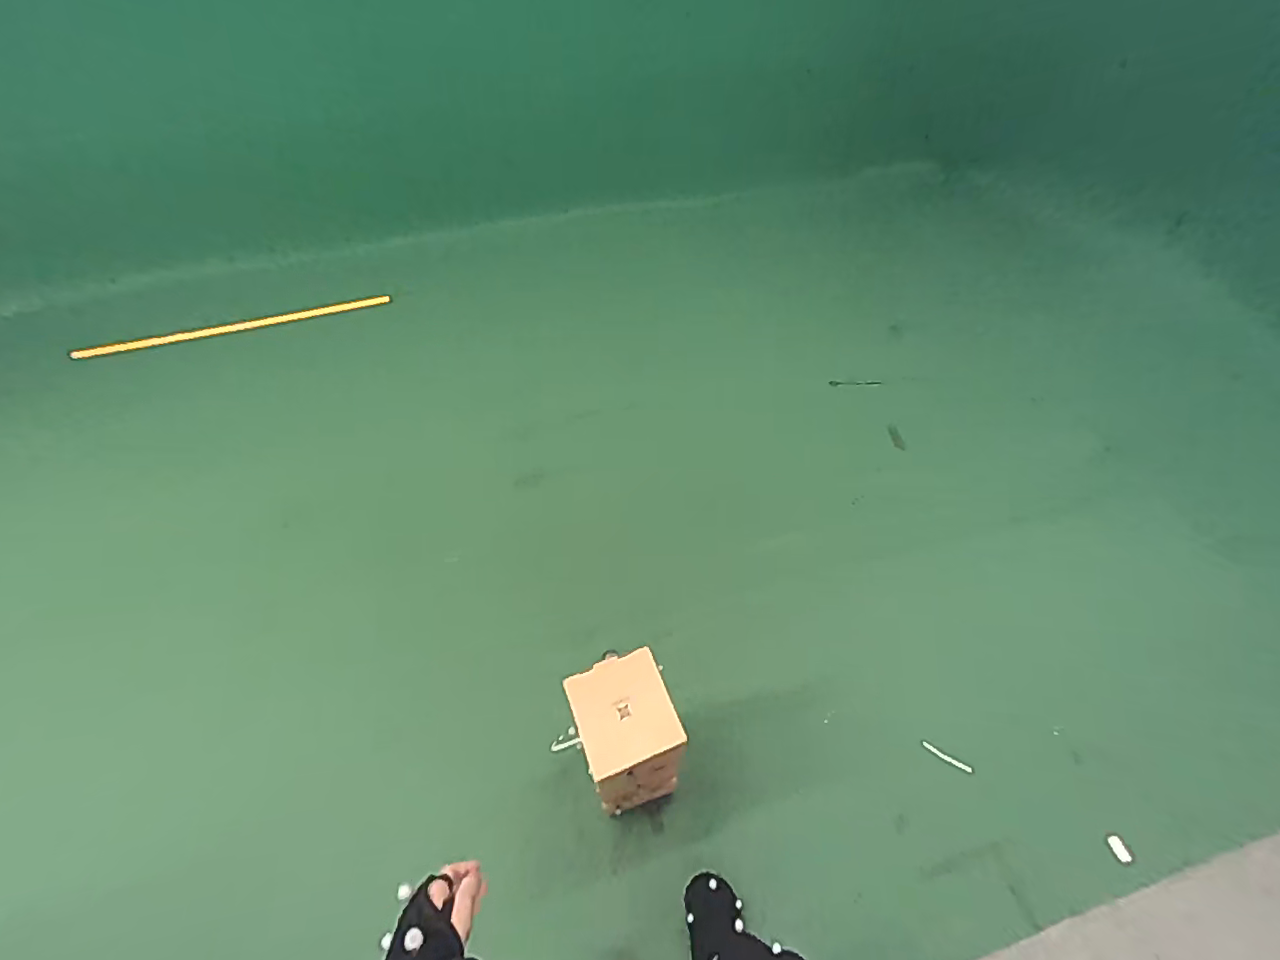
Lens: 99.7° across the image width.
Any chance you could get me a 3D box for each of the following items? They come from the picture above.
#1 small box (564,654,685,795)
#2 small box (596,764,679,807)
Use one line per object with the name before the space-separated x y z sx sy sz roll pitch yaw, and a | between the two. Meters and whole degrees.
small box | -0.027 0.452 0.989 0.168 0.176 0.179 -18 54 -13
small box | -0.028 0.548 1.120 0.168 0.176 0.179 -16 54 -11
